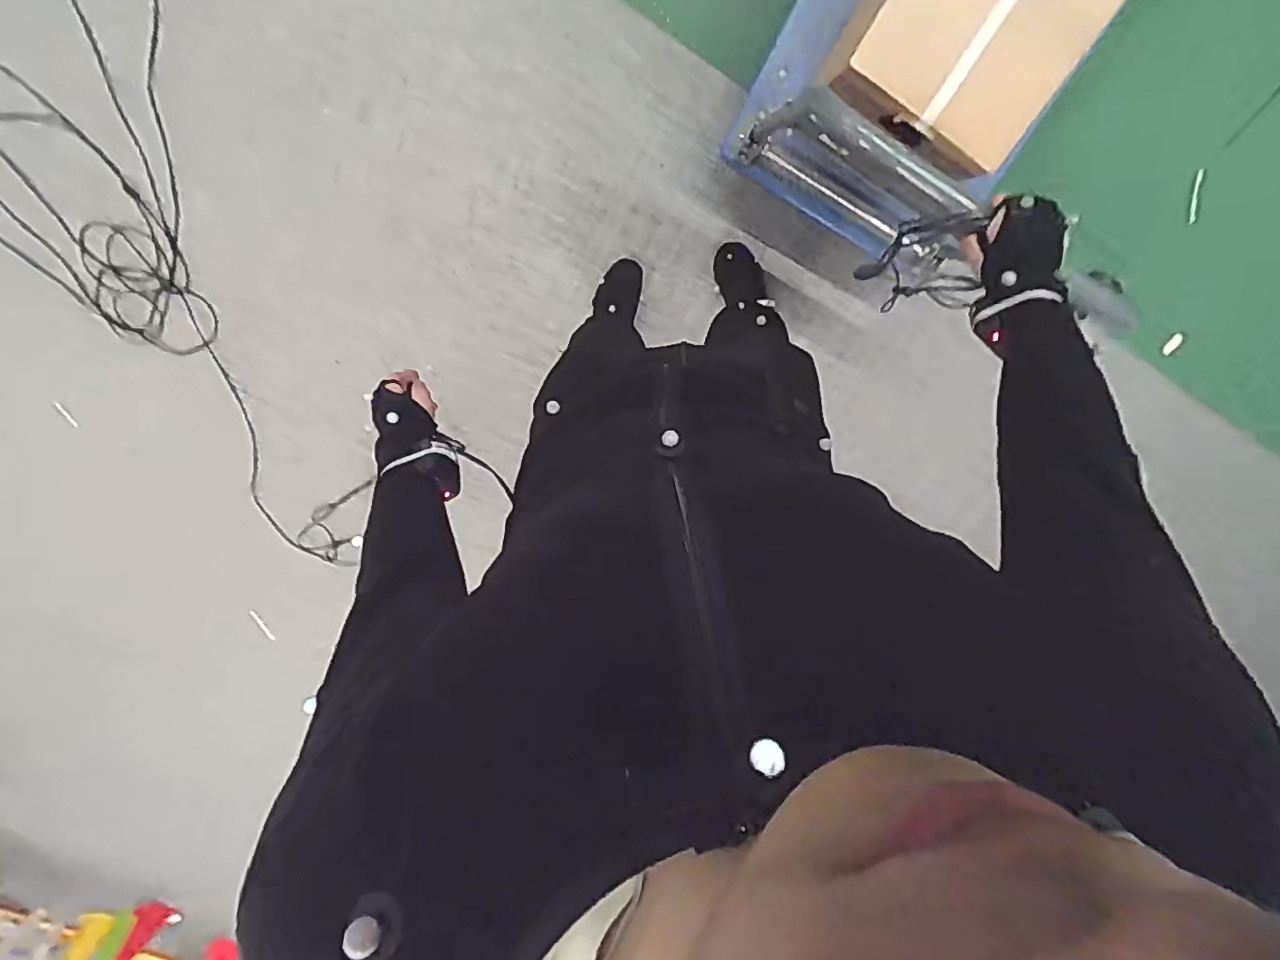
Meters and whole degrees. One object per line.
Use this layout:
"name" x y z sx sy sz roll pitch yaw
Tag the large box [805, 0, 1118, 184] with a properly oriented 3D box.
"large box" 0.559 -0.803 0.939 0.320 0.320 0.408 28 112 -12
